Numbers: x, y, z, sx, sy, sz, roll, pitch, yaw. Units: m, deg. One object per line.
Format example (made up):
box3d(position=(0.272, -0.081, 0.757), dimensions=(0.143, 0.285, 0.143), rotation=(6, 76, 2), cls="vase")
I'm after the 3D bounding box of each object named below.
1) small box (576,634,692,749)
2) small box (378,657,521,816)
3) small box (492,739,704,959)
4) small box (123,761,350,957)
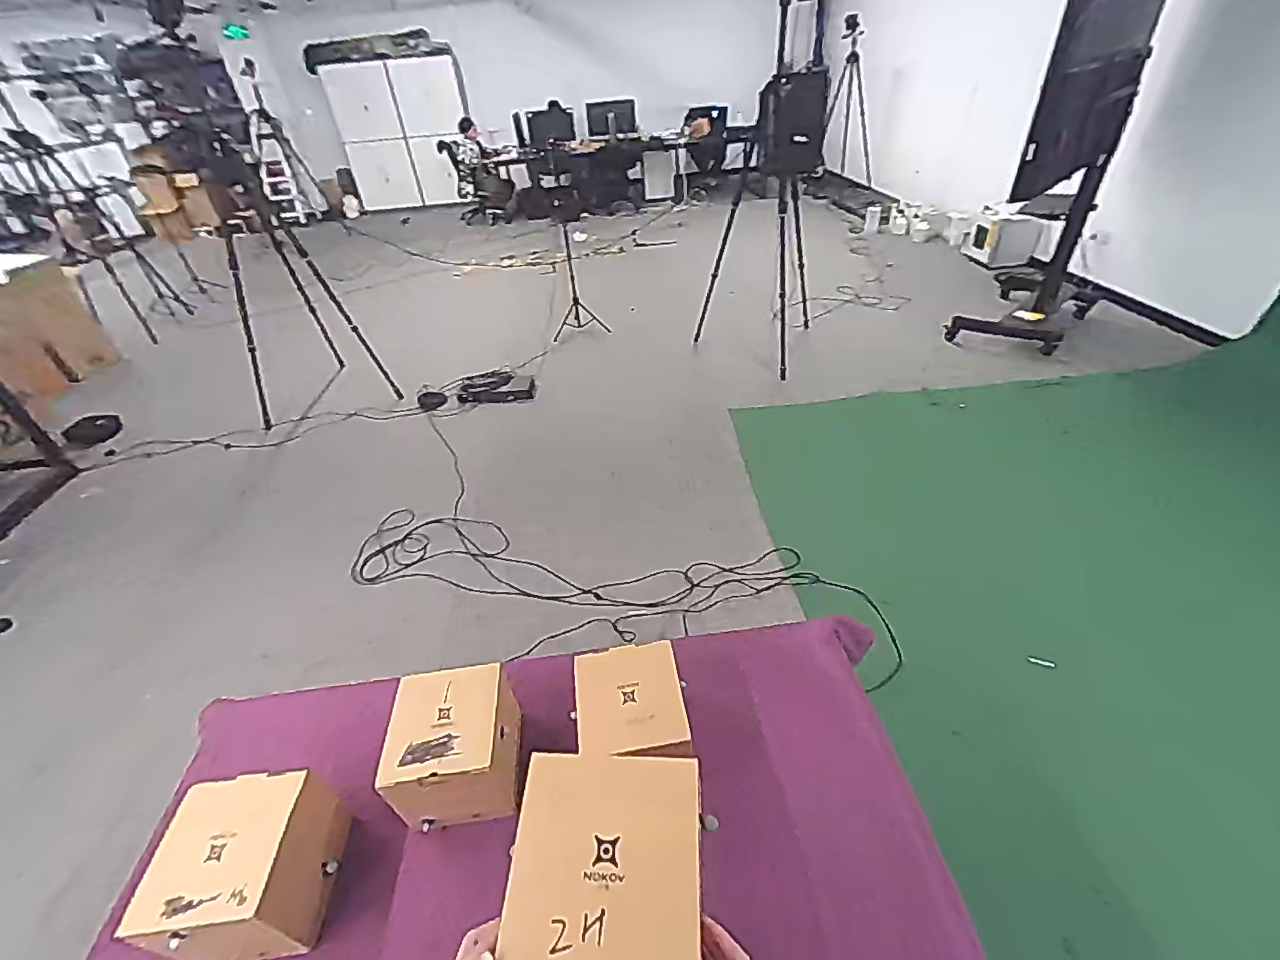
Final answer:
box3d(position=(-0.011, 0.386, 0.890), dimensions=(0.168, 0.176, 0.179), rotation=(-9, 39, -3), cls="small box")
box3d(position=(-0.293, 0.419, 0.878), dimensions=(0.168, 0.176, 0.179), rotation=(-7, 37, -3), cls="small box")
box3d(position=(-0.023, 0.376, 0.529), dimensions=(0.168, 0.176, 0.179), rotation=(-1, 48, 7), cls="small box")
box3d(position=(-0.542, 0.532, 0.763), dimensions=(0.168, 0.176, 0.179), rotation=(-8, 38, -1), cls="small box")
